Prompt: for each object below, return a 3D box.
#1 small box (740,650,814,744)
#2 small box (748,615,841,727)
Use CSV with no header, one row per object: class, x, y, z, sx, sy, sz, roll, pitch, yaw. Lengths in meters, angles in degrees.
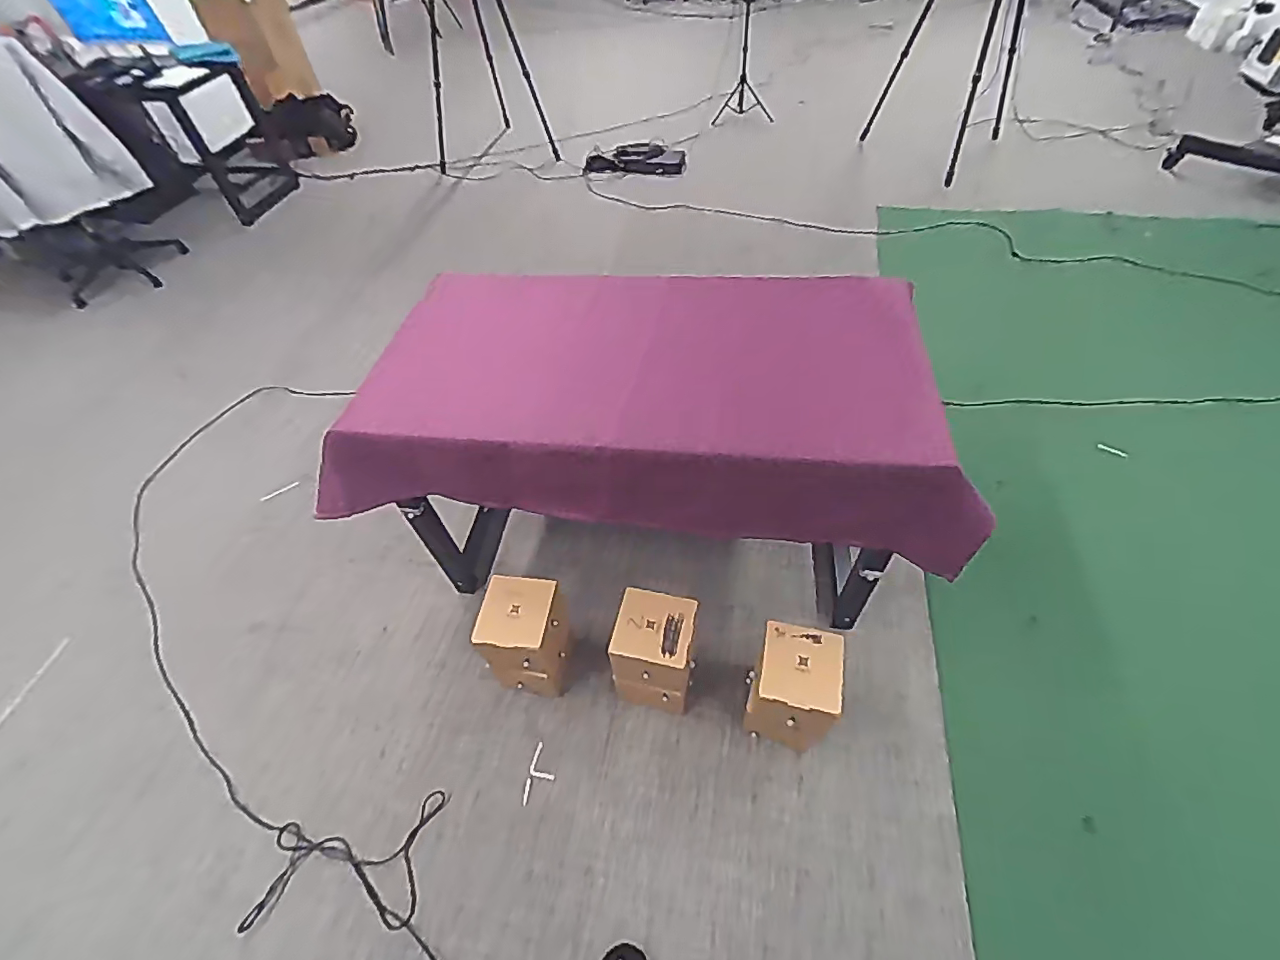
small box,0.351,0.532,1.347,0.168,0.176,0.179,14,53,15
small box,0.342,0.434,1.214,0.168,0.176,0.179,11,55,11
